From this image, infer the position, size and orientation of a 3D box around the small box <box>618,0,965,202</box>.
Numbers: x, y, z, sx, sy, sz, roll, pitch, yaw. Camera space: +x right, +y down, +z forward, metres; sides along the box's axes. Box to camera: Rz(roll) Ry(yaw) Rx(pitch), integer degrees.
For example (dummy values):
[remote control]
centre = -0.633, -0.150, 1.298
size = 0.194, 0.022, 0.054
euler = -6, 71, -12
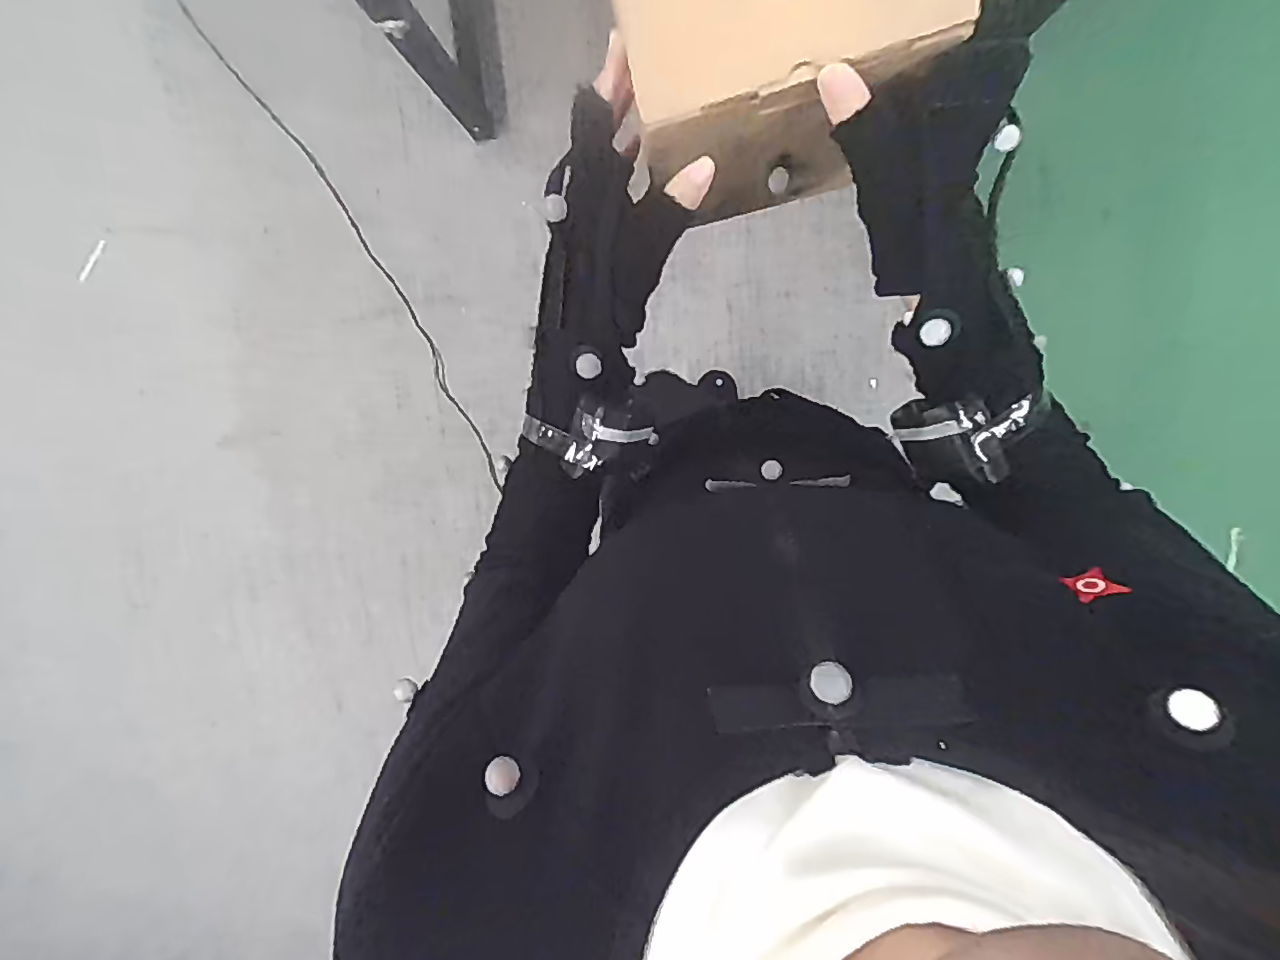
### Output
[small box]
centre = 0.072, -0.301, 0.343
size = 0.168, 0.176, 0.179
euler = -12, 96, 8
